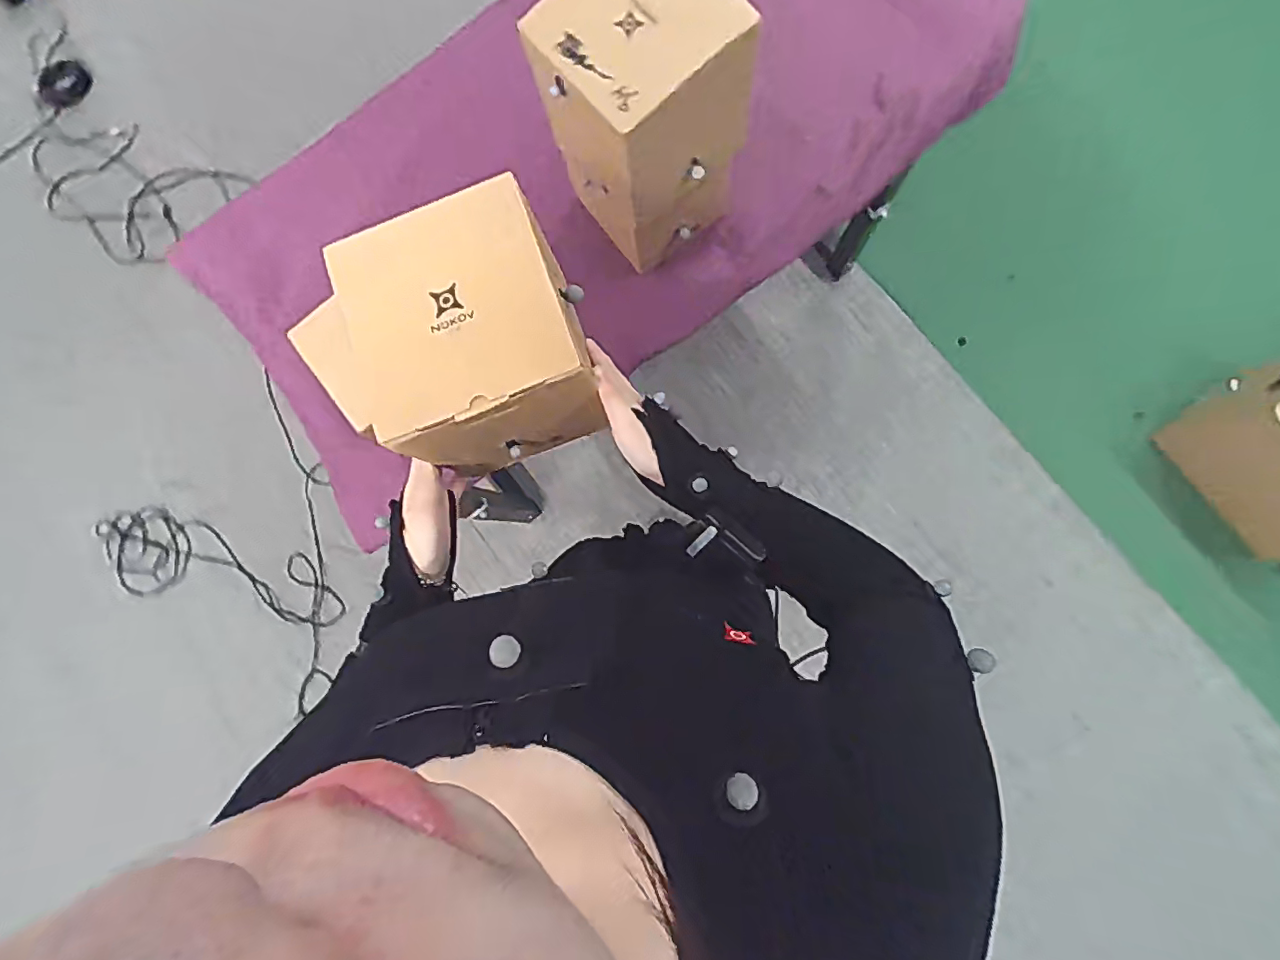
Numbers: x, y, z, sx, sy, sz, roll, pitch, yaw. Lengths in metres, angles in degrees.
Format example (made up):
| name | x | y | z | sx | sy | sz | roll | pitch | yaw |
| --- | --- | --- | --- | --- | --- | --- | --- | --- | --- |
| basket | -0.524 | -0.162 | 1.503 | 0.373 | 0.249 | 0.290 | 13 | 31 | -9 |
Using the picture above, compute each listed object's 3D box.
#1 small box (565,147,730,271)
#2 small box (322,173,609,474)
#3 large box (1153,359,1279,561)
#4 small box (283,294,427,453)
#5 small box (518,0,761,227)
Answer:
| name | x | y | z | sx | sy | sz | roll | pitch | yaw |
| --- | --- | --- | --- | --- | --- | --- | --- | --- | --- |
| small box | 0.005 | -0.433 | 0.754 | 0.168 | 0.176 | 0.179 | -37 | 82 | 1 |
| small box | -0.138 | -0.120 | 0.484 | 0.168 | 0.176 | 0.179 | -20 | 82 | 2 |
| large box | 1.560 | -0.056 | 1.243 | 0.320 | 0.320 | 0.408 | -36 | 83 | 1 |
| small box | -0.332 | -0.159 | 0.751 | 0.168 | 0.176 | 0.179 | -39 | 81 | 0 |
| small box | 0.002 | -0.425 | 0.589 | 0.179 | 0.176 | 0.168 | -40 | 82 | 0 |
